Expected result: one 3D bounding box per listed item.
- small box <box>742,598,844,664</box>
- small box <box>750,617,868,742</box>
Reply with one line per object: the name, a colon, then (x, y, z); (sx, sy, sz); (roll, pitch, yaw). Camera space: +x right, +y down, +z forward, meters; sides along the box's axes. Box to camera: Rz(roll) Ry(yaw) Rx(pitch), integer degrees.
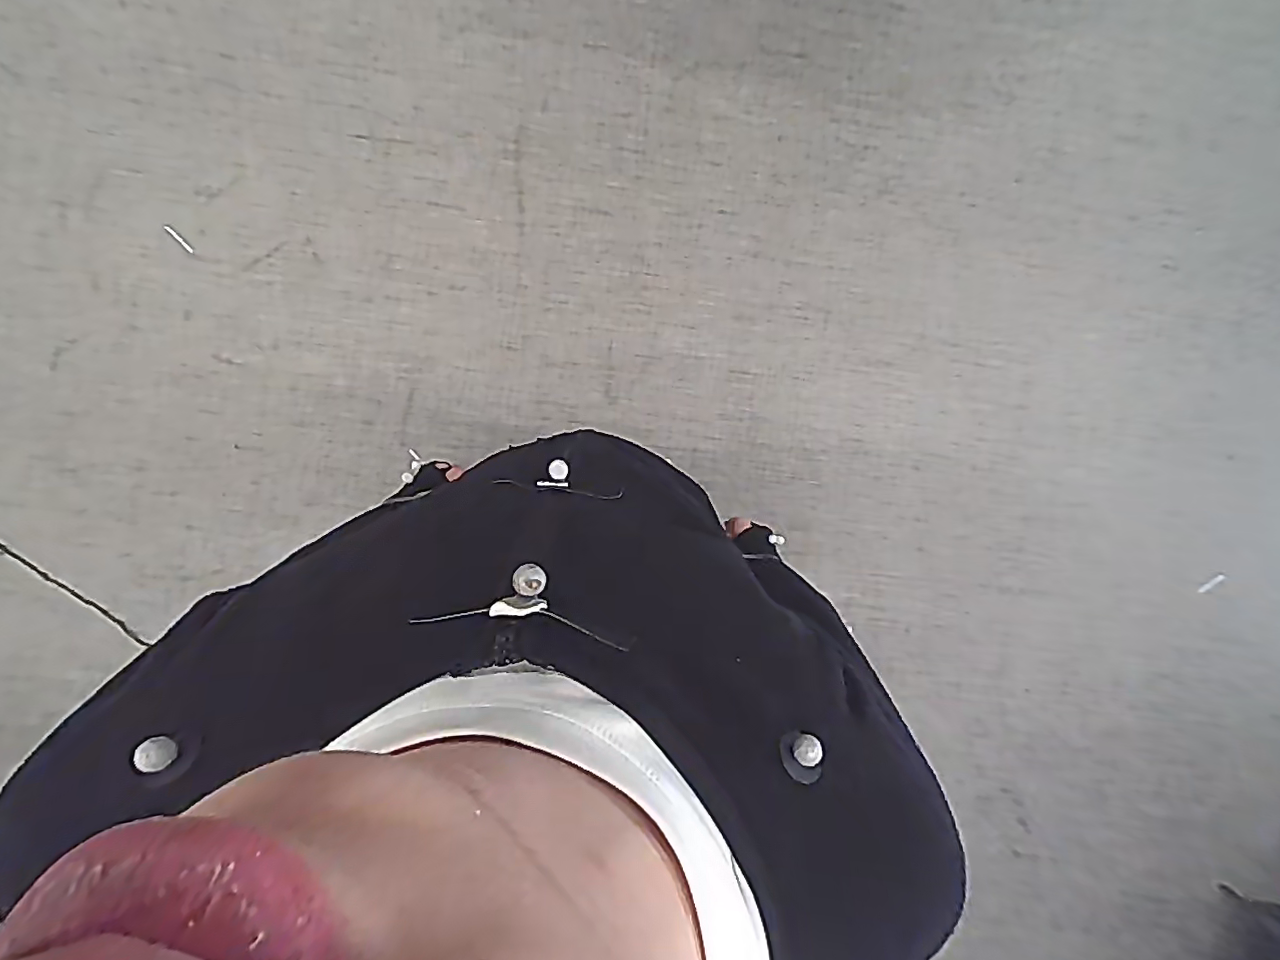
small box: (0.380, 0.418, 1.381); (0.179, 0.176, 0.168); (19, 94, -6)
small box: (0.368, 0.437, 1.215); (0.168, 0.176, 0.179); (30, 93, -3)
